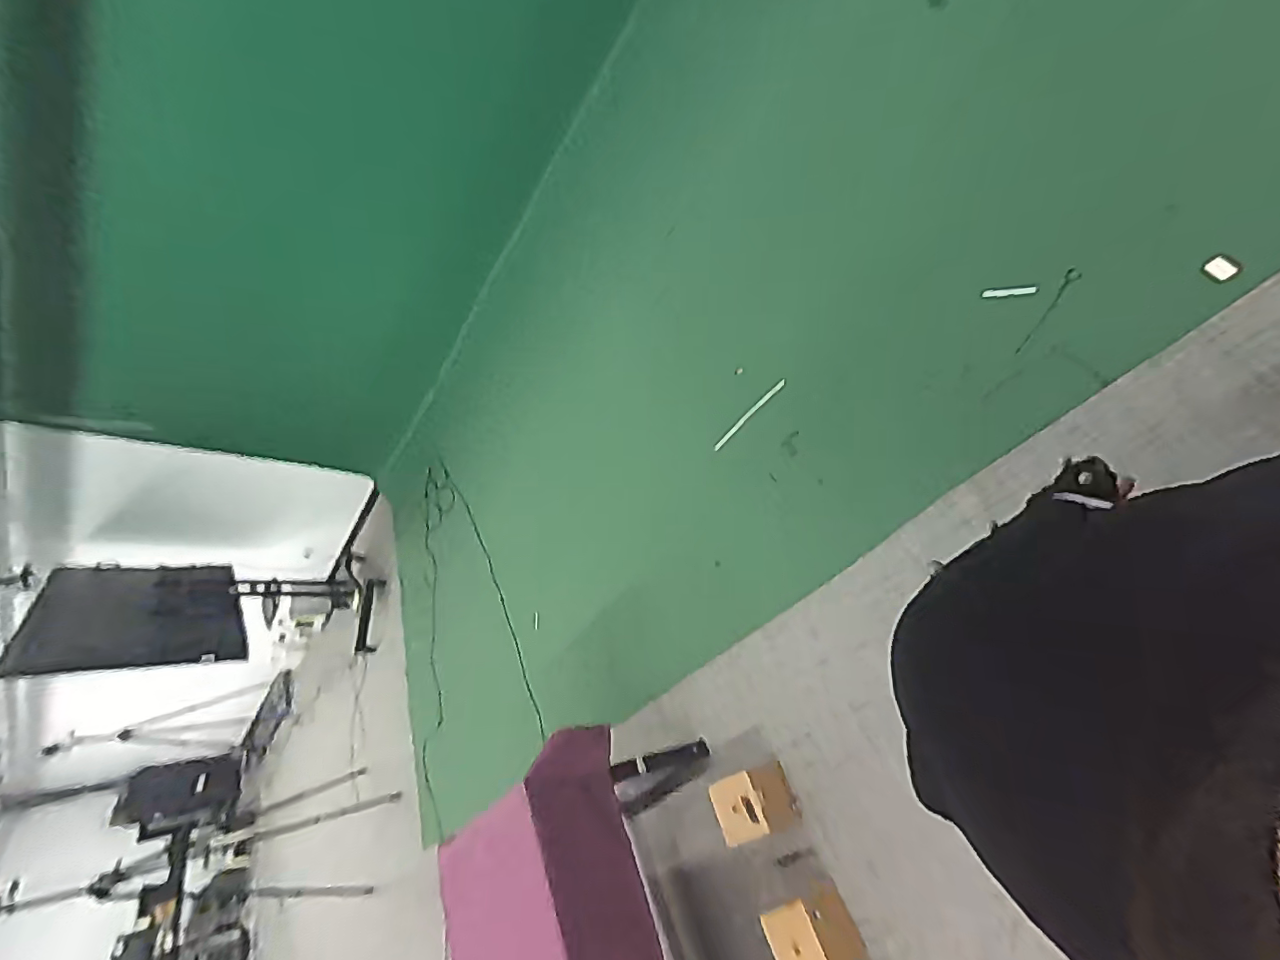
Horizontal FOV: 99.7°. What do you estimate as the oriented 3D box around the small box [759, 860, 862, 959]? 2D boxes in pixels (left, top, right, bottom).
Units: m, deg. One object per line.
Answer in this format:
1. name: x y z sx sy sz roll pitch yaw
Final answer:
1. small box: 0.471 1.190 1.487 0.168 0.176 0.179 -48 50 30
